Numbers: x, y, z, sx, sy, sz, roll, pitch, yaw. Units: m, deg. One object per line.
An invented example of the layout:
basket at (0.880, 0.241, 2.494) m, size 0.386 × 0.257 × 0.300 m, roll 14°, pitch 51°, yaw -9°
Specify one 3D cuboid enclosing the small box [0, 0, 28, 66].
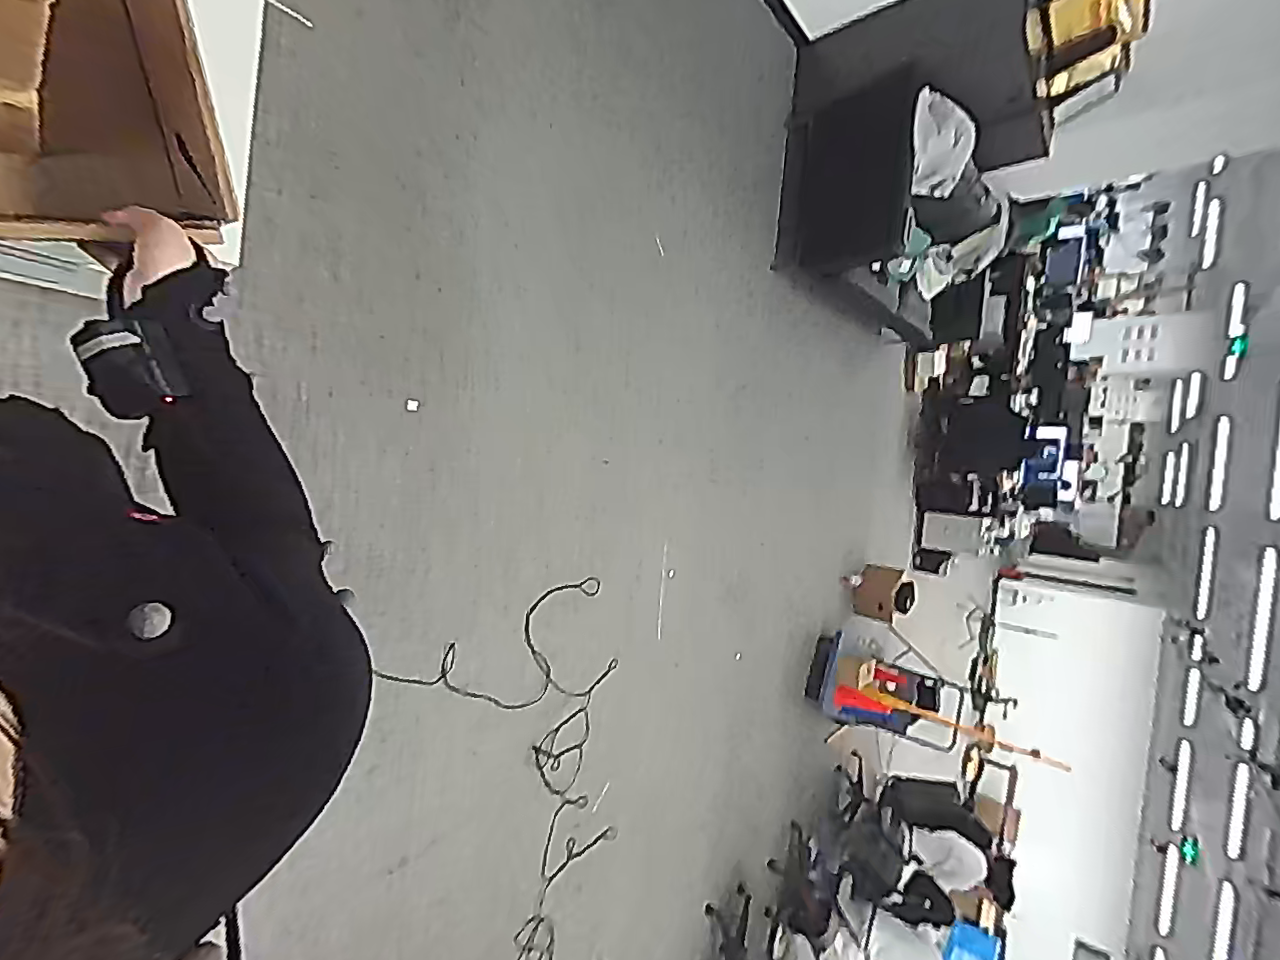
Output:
small box at (-0.403, -0.299, 0.221) m, size 0.179 × 0.176 × 0.168 m, roll -26°, pitch 121°, yaw -44°
